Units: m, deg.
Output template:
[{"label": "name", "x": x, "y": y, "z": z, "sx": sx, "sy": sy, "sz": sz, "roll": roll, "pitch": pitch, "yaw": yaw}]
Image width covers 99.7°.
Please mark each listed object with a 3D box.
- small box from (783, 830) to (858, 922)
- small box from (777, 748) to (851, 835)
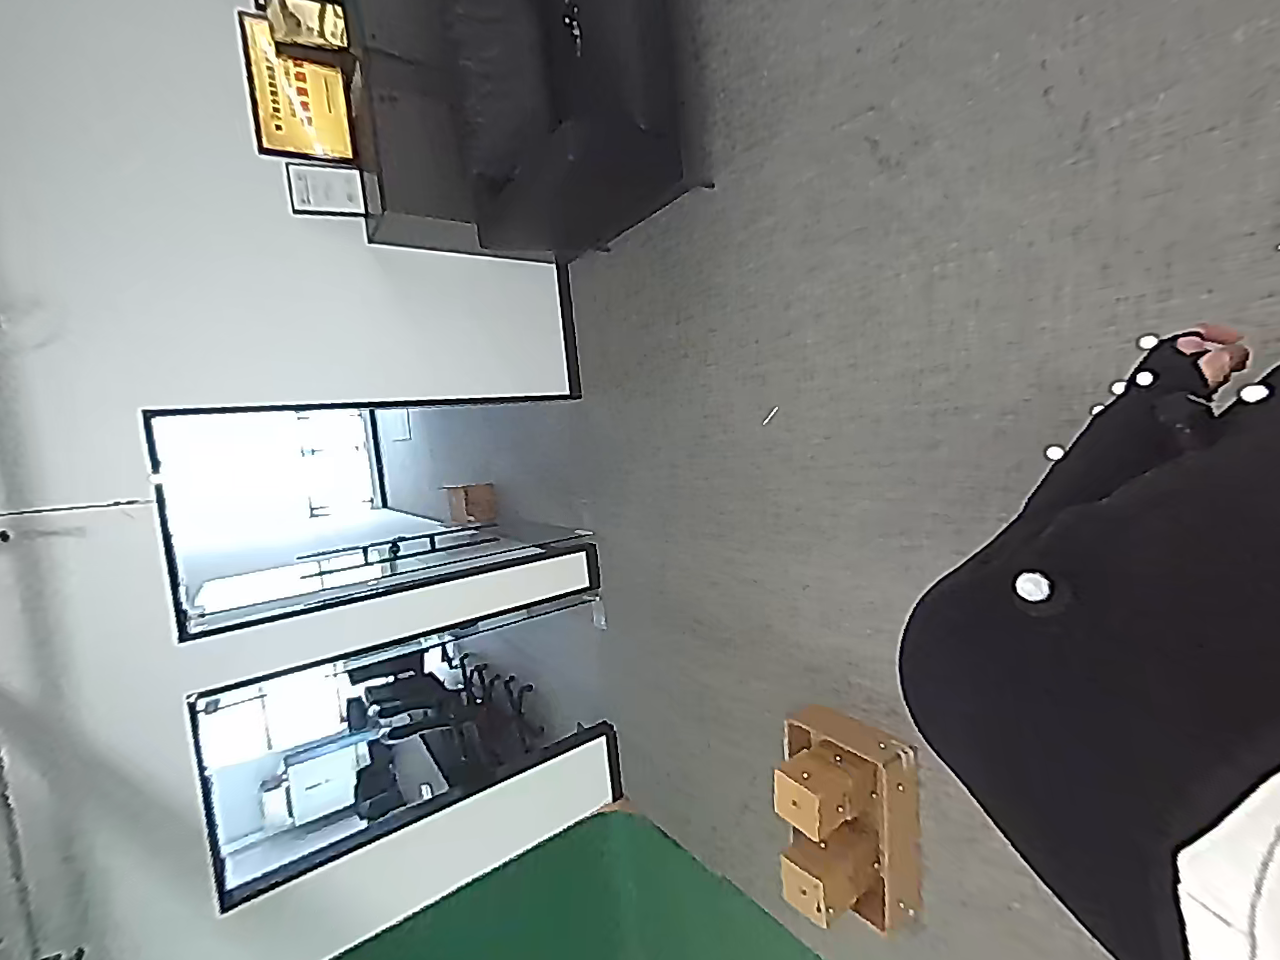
[{"label": "small box", "x": 0.615, "y": 1.336, "z": 1.846, "sx": 0.179, "sy": 0.176, "sz": 0.168, "roll": -1, "pitch": 97, "yaw": 55}, {"label": "small box", "x": 0.584, "y": 1.038, "z": 1.824, "sx": 0.179, "sy": 0.176, "sz": 0.168, "roll": 9, "pitch": 105, "yaw": 52}]
